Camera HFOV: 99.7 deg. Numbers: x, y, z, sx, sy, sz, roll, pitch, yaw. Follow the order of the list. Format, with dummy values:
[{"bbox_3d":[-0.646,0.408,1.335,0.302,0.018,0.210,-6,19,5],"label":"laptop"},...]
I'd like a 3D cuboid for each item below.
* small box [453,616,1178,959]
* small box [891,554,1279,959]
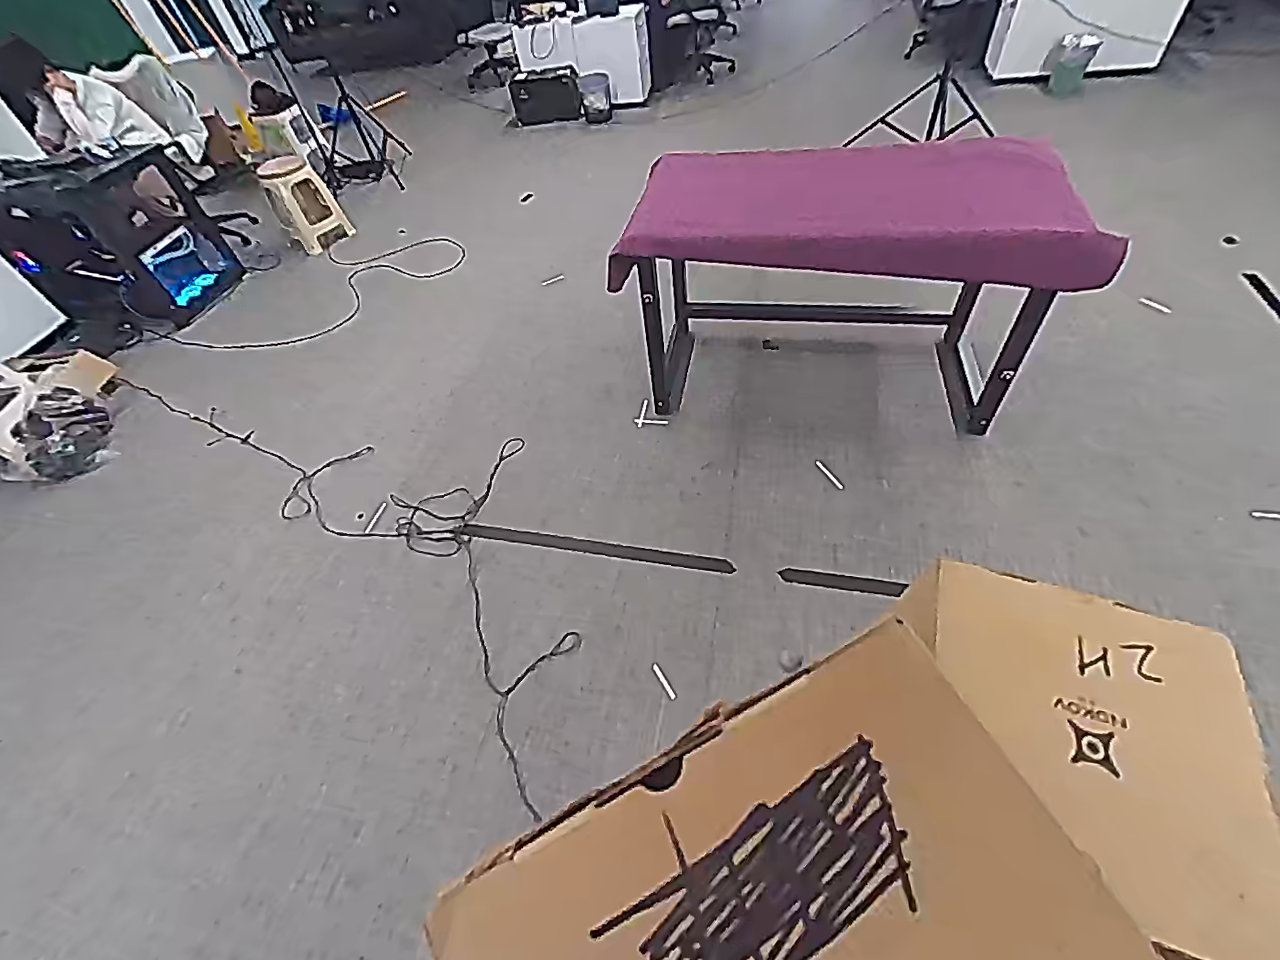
[{"bbox_3d":[0.070,0.175,0.198,0.168,0.176,0.179,-33,66,2],"label":"small box"},{"bbox_3d":[0.248,0.183,0.358,0.168,0.176,0.179,16,56,12],"label":"small box"}]
